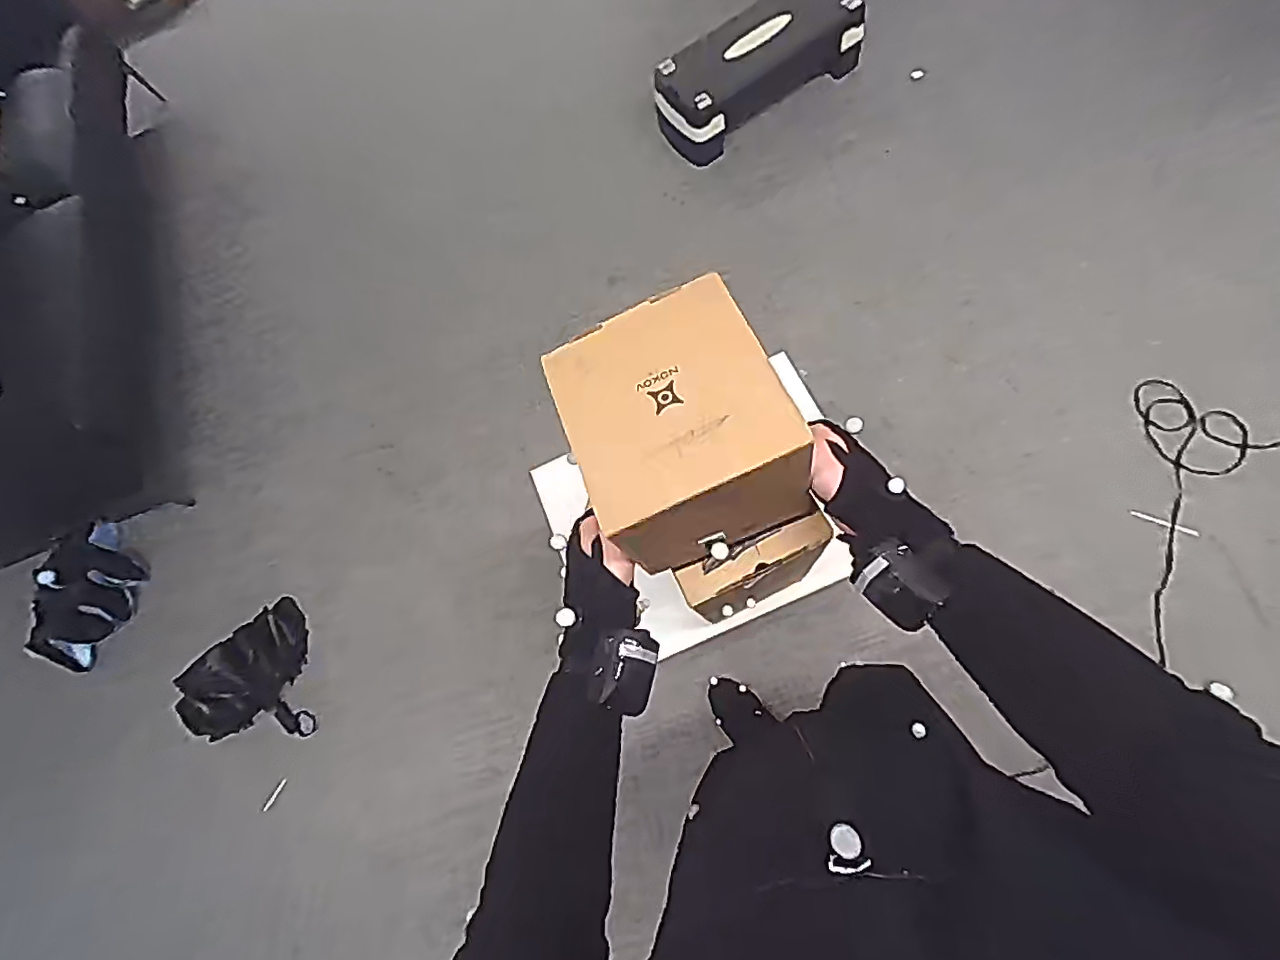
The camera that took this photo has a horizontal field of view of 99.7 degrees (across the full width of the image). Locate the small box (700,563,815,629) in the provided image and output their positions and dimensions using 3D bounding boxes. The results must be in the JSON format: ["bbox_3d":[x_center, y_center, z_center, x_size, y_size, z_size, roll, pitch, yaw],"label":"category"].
[{"bbox_3d":[0.134,0.105,0.805,0.168,0.176,0.179,-29,68,1],"label":"small box"}]

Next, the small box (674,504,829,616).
[{"bbox_3d":[0.102,0.053,0.651,0.168,0.176,0.179,-27,67,1],"label":"small box"}]

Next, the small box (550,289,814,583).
[{"bbox_3d":[0.042,-0.029,0.498,0.168,0.176,0.179,-26,62,4],"label":"small box"}]
